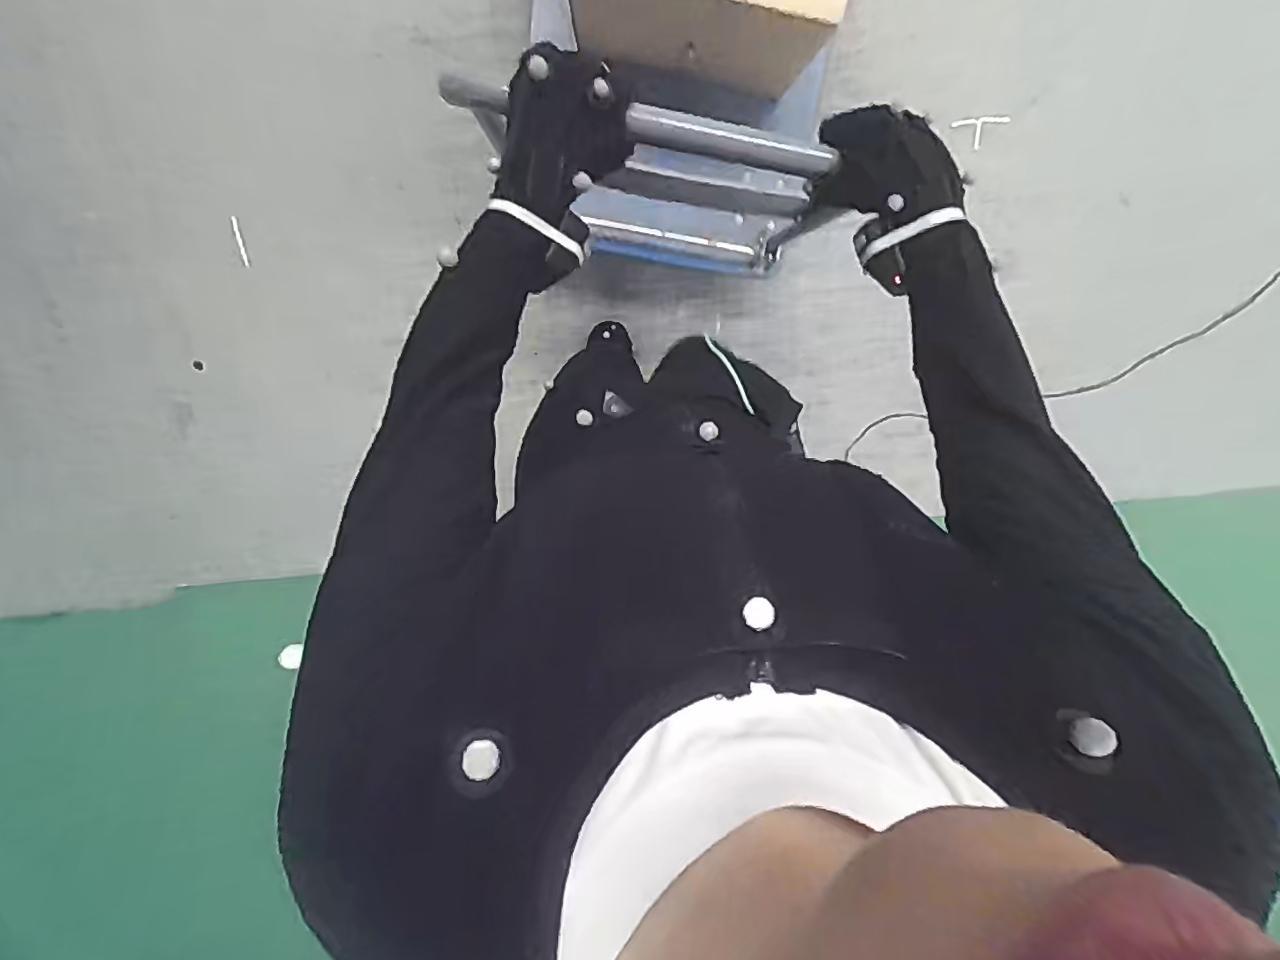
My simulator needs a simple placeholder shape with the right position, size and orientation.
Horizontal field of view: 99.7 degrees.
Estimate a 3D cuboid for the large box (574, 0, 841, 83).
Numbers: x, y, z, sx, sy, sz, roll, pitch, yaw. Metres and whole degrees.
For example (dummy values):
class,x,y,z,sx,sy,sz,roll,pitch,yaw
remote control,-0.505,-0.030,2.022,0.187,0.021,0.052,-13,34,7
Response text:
class,x,y,z,sx,sy,sz,roll,pitch,yaw
large box,0.114,-0.895,0.857,0.408,0.320,0.320,9,107,-5
